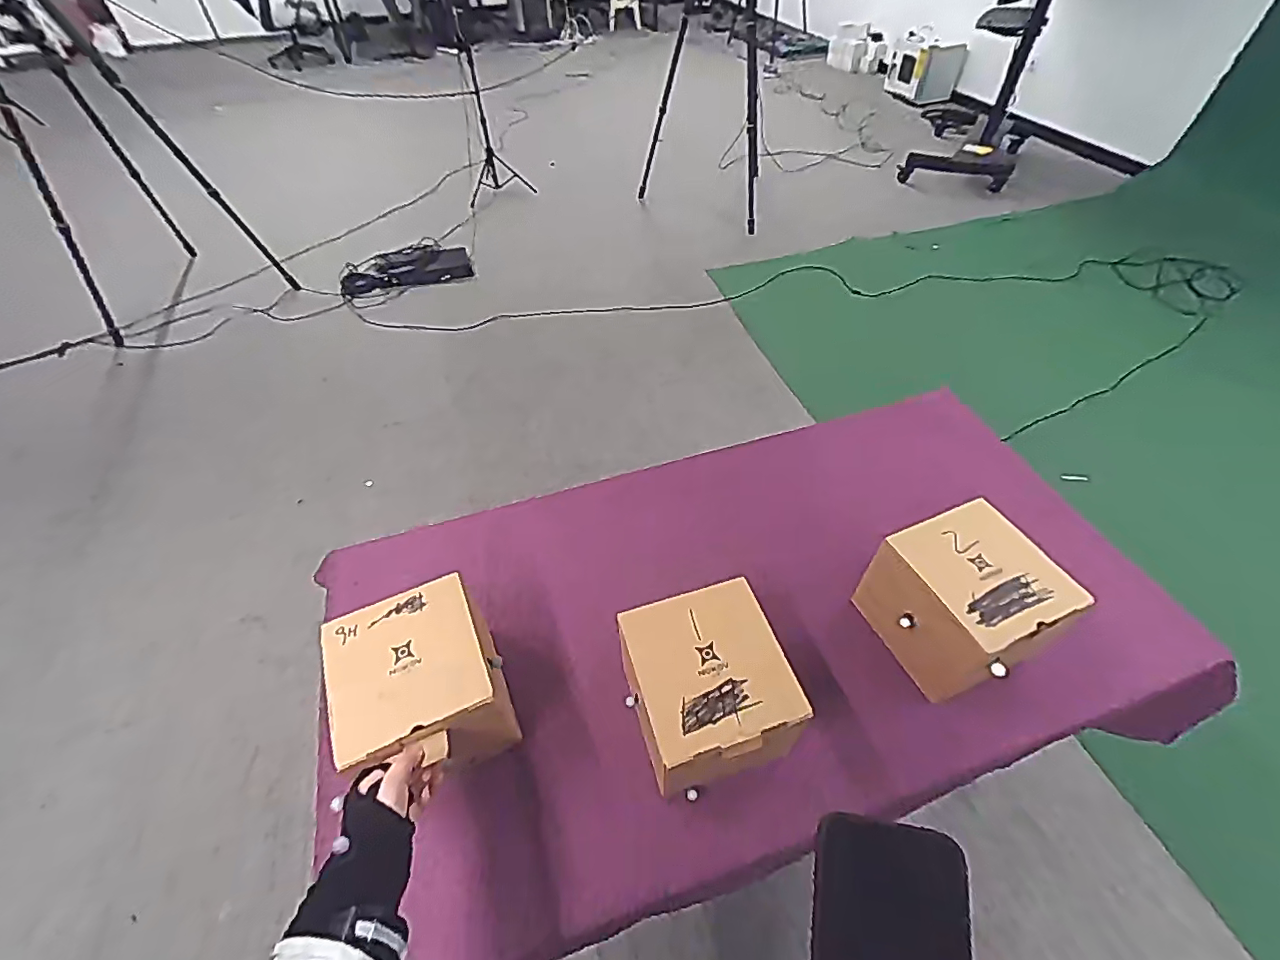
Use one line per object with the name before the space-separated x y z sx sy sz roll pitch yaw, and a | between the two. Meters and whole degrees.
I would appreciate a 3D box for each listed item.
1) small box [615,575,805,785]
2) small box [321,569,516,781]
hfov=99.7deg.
small box | 0.075 0.250 0.661 0.168 0.176 0.179 -14 50 -10
small box | -0.266 0.248 0.672 0.168 0.176 0.179 -20 53 -16
